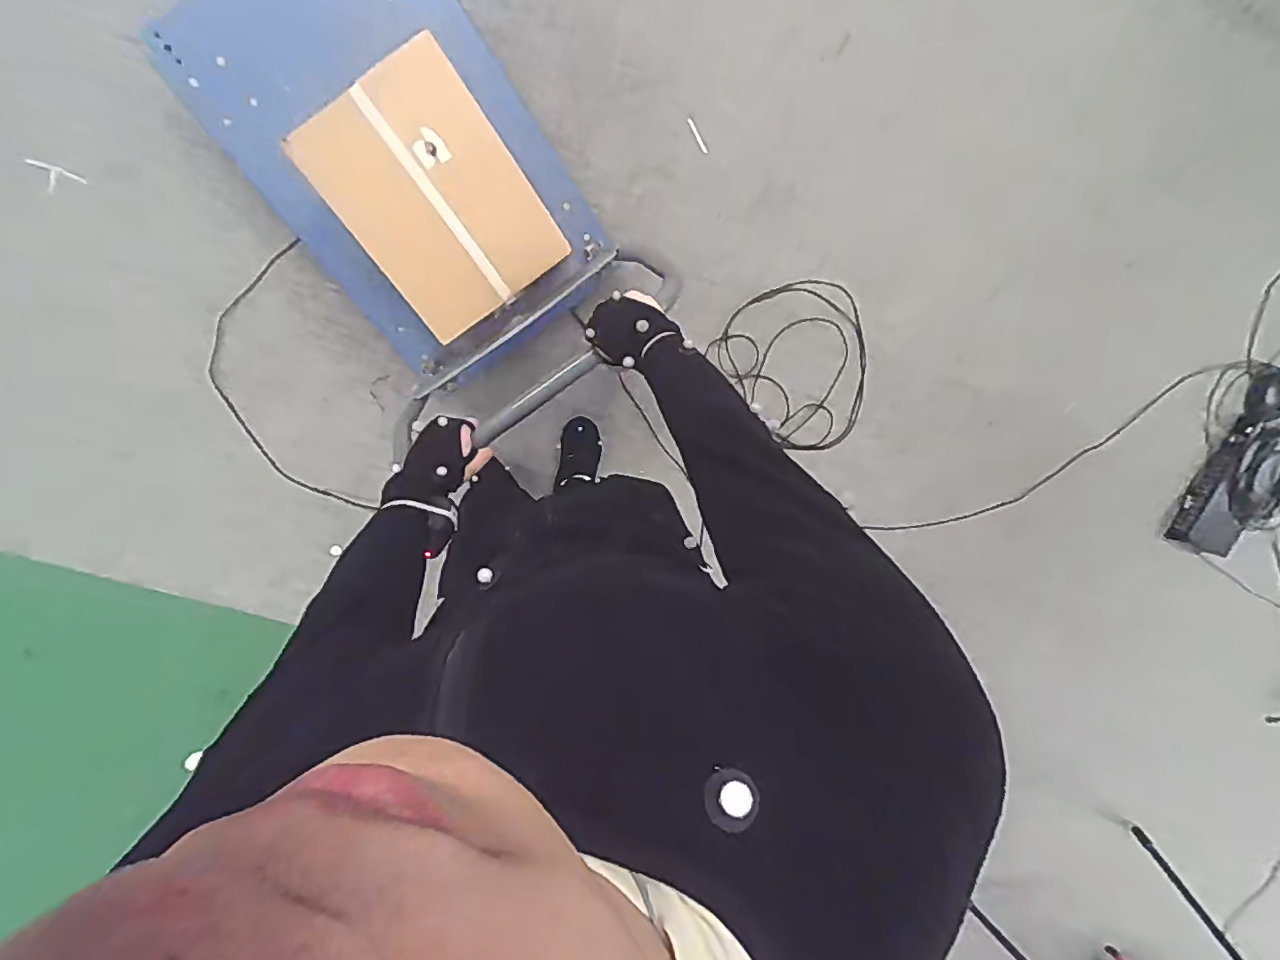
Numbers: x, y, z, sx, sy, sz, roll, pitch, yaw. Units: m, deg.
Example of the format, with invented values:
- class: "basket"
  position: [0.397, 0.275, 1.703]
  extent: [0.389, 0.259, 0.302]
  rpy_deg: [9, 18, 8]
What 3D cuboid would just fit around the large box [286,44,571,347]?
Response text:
- class: "large box"
  position: [-0.387, -0.535, 1.108]
  extent: [0.320, 0.320, 0.408]
  rpy_deg: [-36, 111, 2]
